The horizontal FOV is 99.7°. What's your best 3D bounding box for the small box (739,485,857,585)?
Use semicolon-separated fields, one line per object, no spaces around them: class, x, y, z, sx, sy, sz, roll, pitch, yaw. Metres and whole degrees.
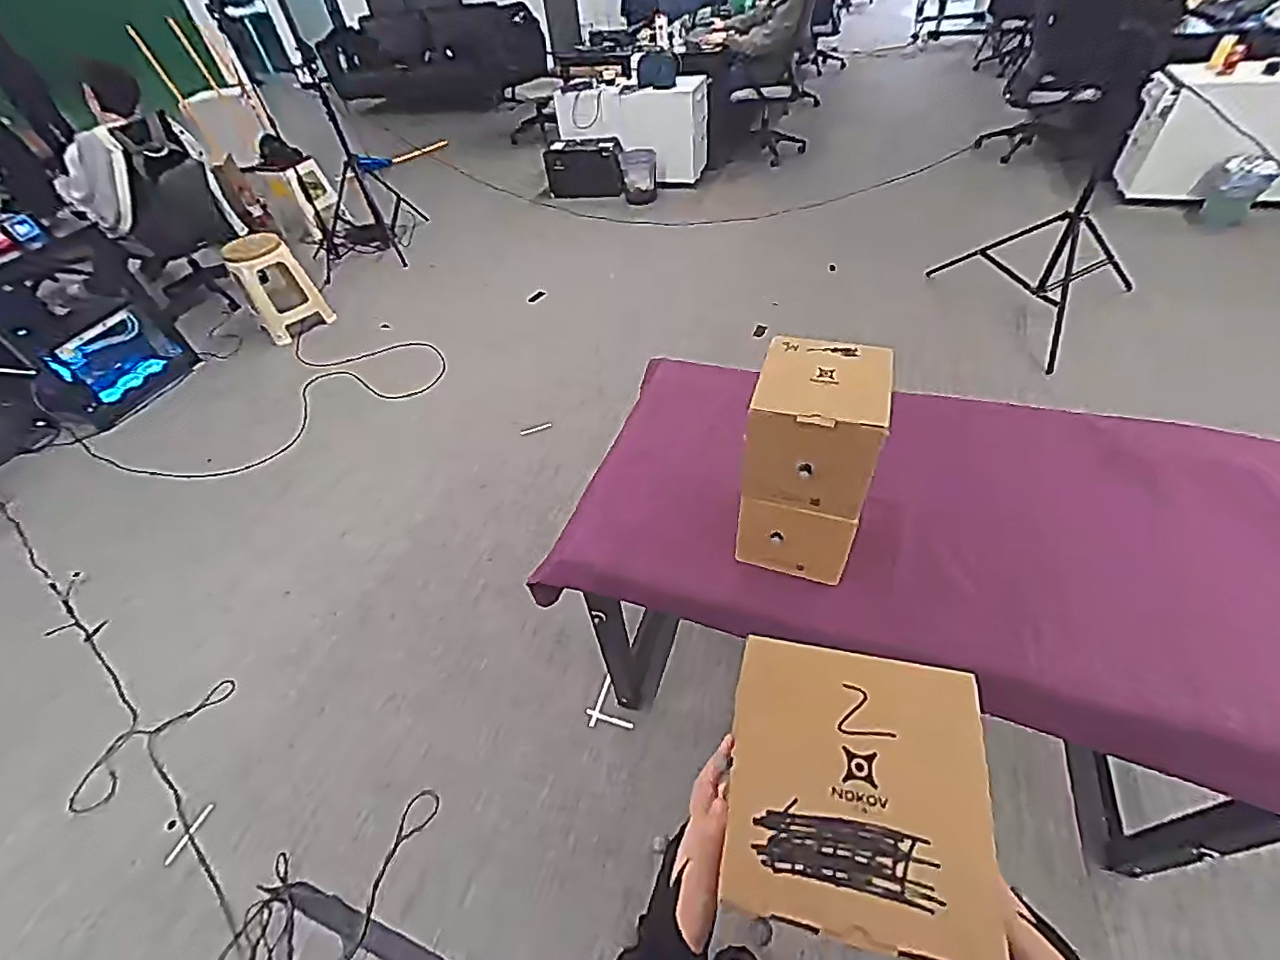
small box;0.262;0.046;0.885;0.168;0.176;0.179;13;49;18

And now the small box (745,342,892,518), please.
small box;0.248;-0.070;0.770;0.168;0.176;0.179;12;49;17
